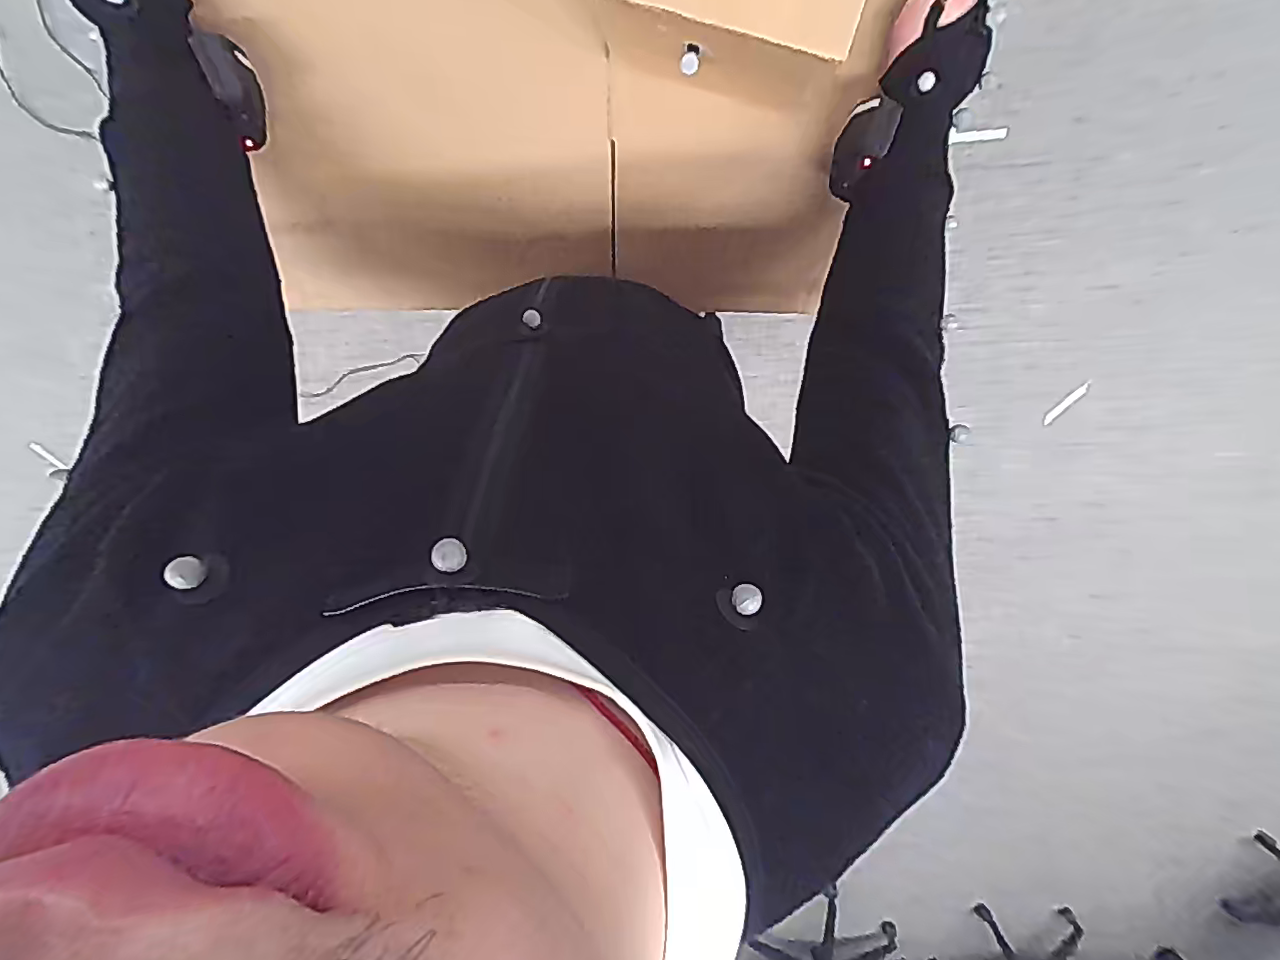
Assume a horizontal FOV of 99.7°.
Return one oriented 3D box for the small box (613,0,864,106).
[{"bbox_3d":[0.079,-0.405,0.400,0.179,0.176,0.168,14,115,-2],"label":"small box"}]
